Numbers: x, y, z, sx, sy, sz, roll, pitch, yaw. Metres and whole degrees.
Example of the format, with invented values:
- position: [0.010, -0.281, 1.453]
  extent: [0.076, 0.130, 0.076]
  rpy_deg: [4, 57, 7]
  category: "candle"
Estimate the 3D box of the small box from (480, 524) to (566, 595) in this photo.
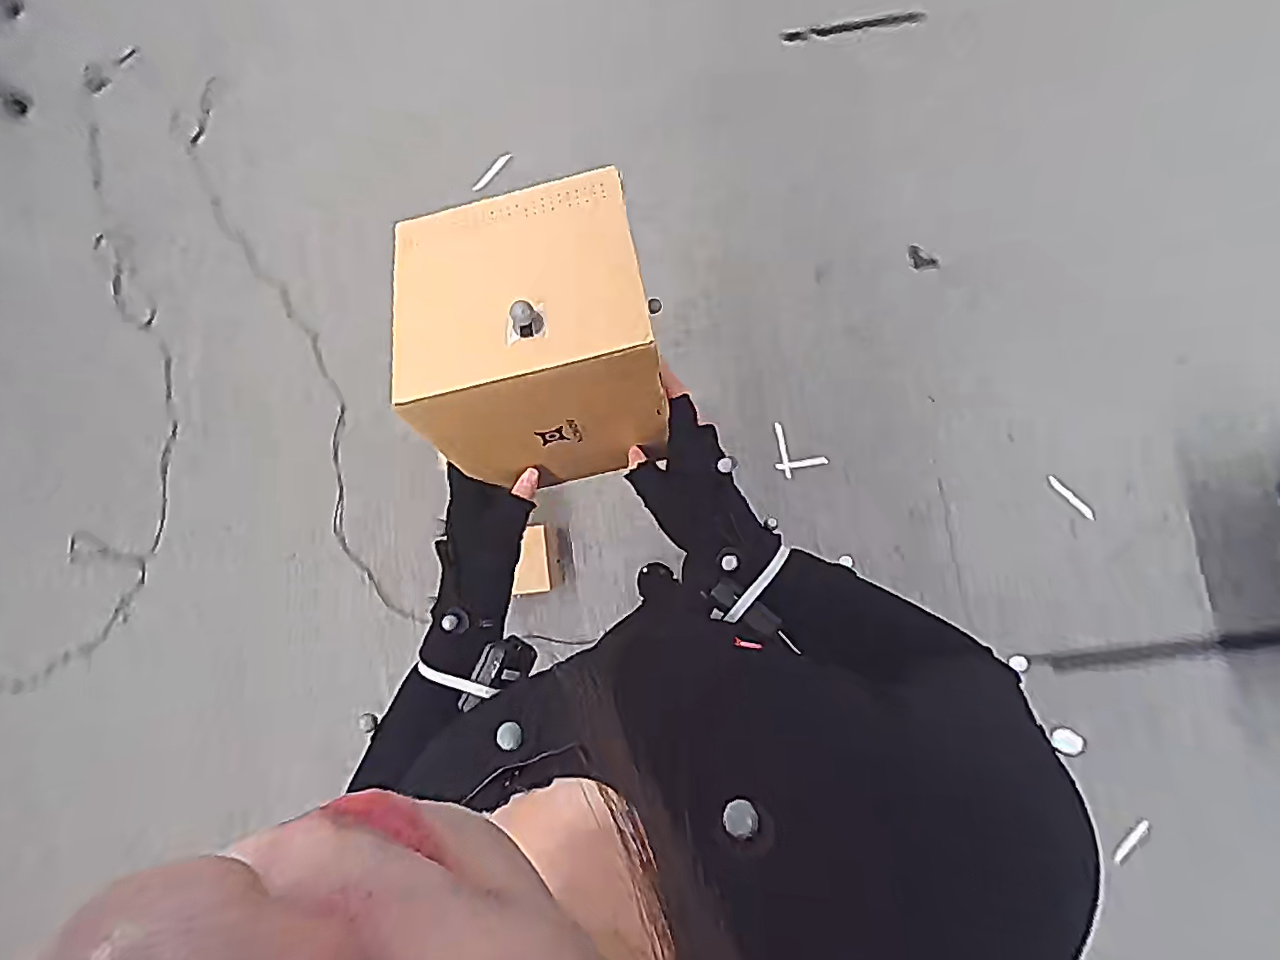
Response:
- position: [-0.307, 0.207, 1.437]
  extent: [0.179, 0.176, 0.168]
  rpy_deg: [-7, 86, 3]
  category: "small box"

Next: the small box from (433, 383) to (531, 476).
- position: [-0.373, -0.115, 1.301]
  extent: [0.168, 0.176, 0.179]
  rpy_deg: [-12, 84, 4]
  category: "small box"

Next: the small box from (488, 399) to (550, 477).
- position: [-0.359, -0.108, 1.465]
  extent: [0.179, 0.176, 0.168]
  rpy_deg: [-11, 85, 3]
  category: "small box"
